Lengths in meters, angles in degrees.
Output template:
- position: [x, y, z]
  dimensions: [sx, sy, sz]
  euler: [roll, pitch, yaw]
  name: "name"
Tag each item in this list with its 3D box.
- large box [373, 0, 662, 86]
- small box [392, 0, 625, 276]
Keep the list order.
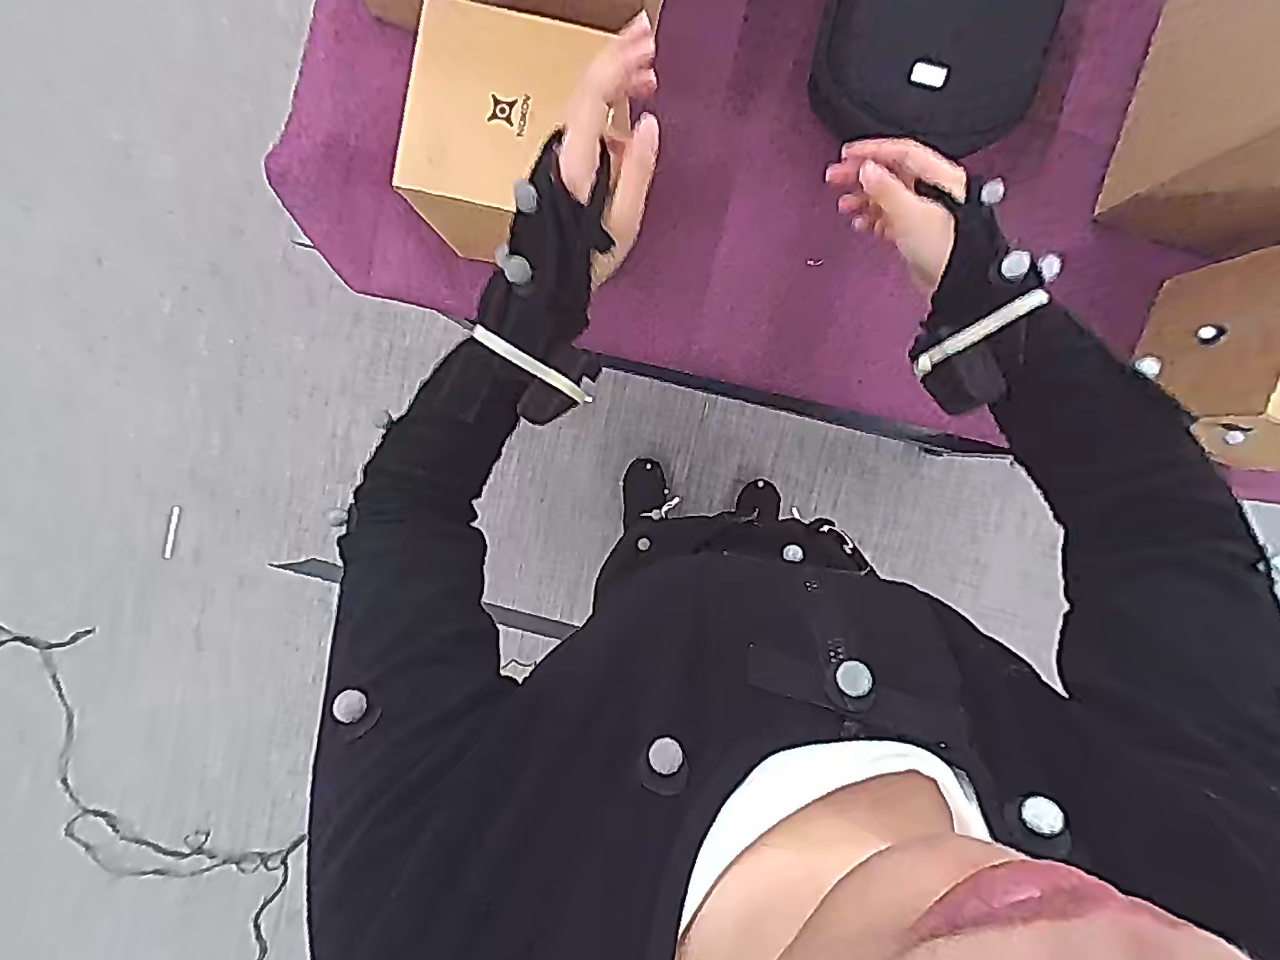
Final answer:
- position: [-0.097, -0.657, 0.448]
  dimensions: [0.320, 0.320, 0.408]
  euler: [12, 97, -2]
  name: "large box"
- position: [-0.116, -0.323, 0.545]
  dimensions: [0.179, 0.176, 0.168]
  euler: [11, 93, -1]
  name: "small box"
